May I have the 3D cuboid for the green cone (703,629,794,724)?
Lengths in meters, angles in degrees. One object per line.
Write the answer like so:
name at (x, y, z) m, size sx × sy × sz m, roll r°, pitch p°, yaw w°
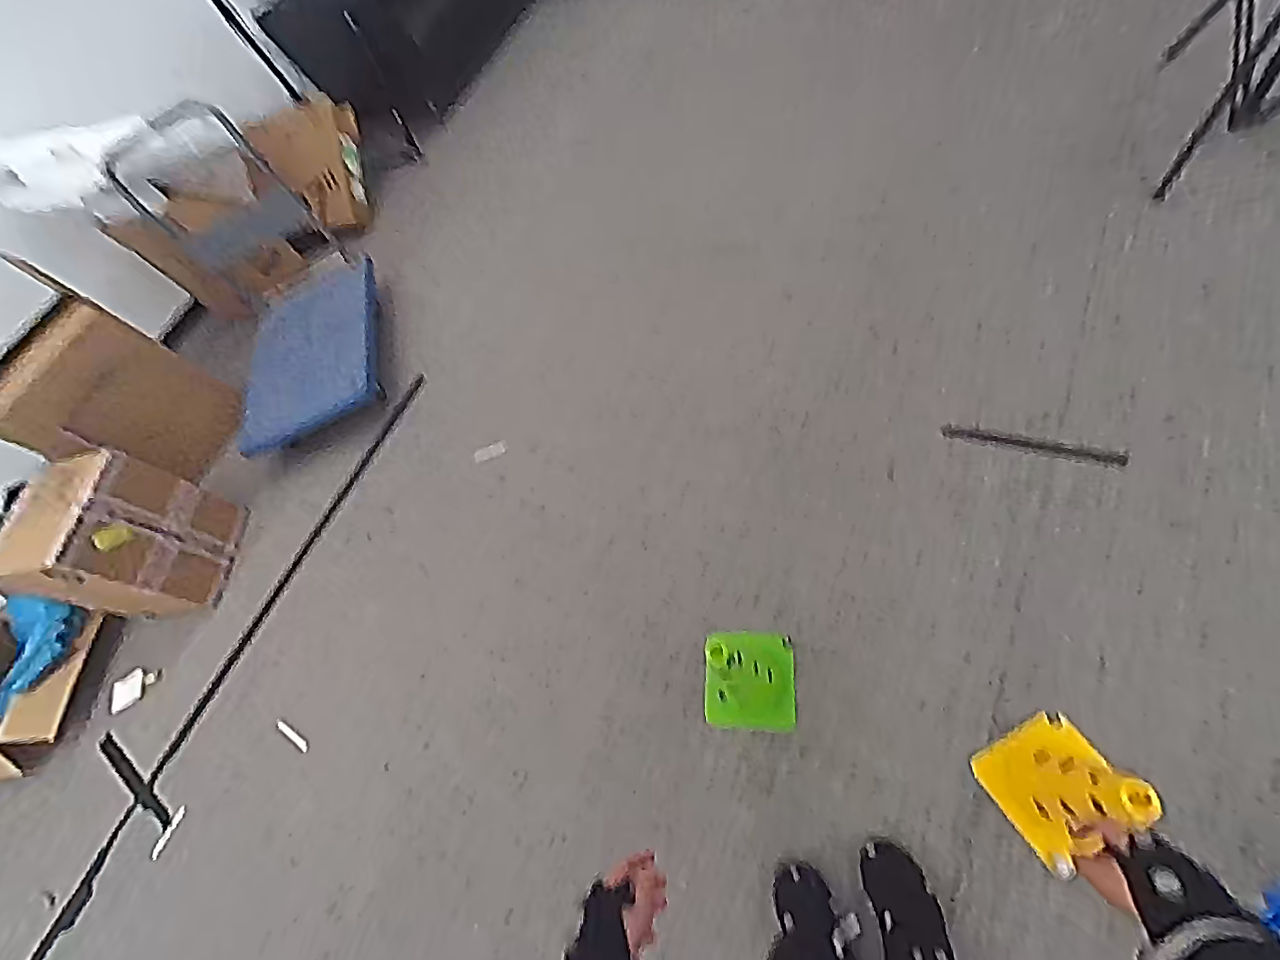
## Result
green cone at (0.186, 0.370, 1.087) m, size 0.200 × 0.368 × 0.202 m, roll -5°, pitch 63°, yaw 20°
